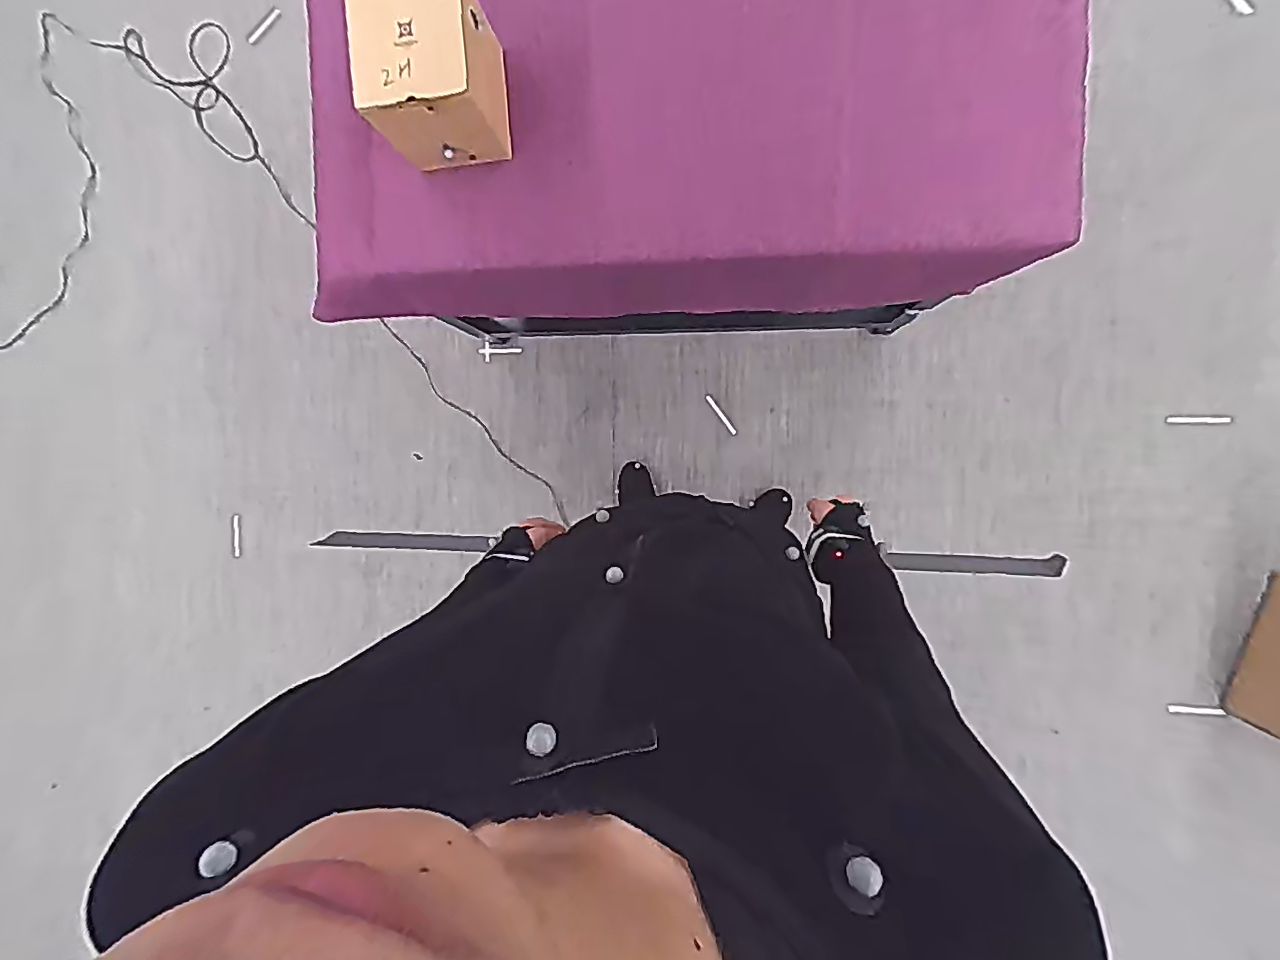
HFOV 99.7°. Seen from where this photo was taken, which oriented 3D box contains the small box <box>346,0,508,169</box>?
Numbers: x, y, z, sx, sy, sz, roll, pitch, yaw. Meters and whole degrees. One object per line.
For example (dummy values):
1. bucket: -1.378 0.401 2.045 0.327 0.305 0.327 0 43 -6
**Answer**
1. small box: -0.308 -0.604 0.810 0.168 0.176 0.179 -4 93 7
